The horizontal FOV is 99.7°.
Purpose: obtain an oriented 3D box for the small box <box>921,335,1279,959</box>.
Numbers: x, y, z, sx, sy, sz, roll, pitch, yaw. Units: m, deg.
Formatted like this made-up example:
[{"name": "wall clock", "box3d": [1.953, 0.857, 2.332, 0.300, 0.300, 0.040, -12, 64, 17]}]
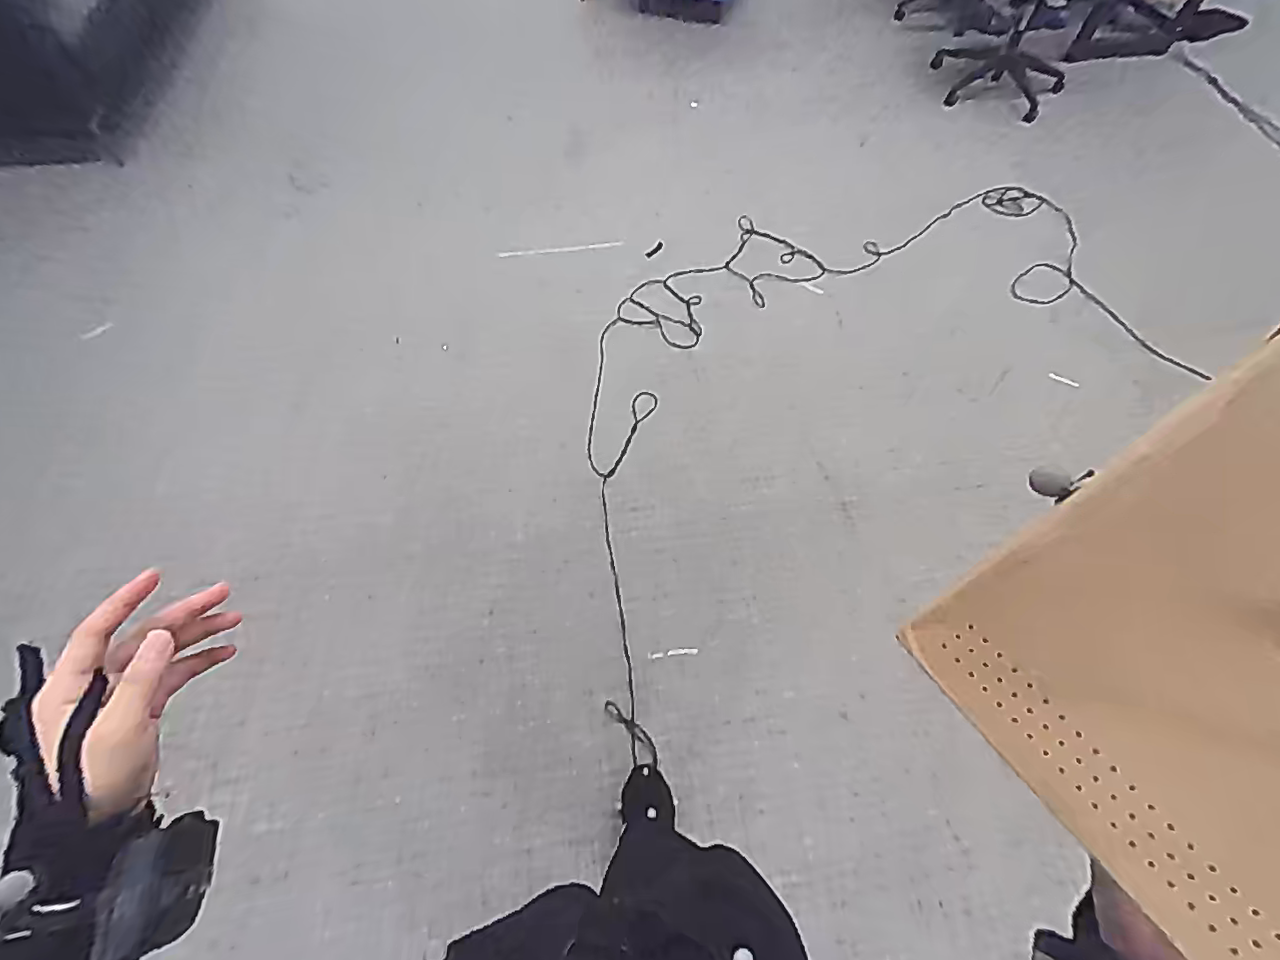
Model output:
[{"name": "small box", "box3d": [0.252, 0.068, 0.214, 0.168, 0.176, 0.179, -5, 48, -49]}]
